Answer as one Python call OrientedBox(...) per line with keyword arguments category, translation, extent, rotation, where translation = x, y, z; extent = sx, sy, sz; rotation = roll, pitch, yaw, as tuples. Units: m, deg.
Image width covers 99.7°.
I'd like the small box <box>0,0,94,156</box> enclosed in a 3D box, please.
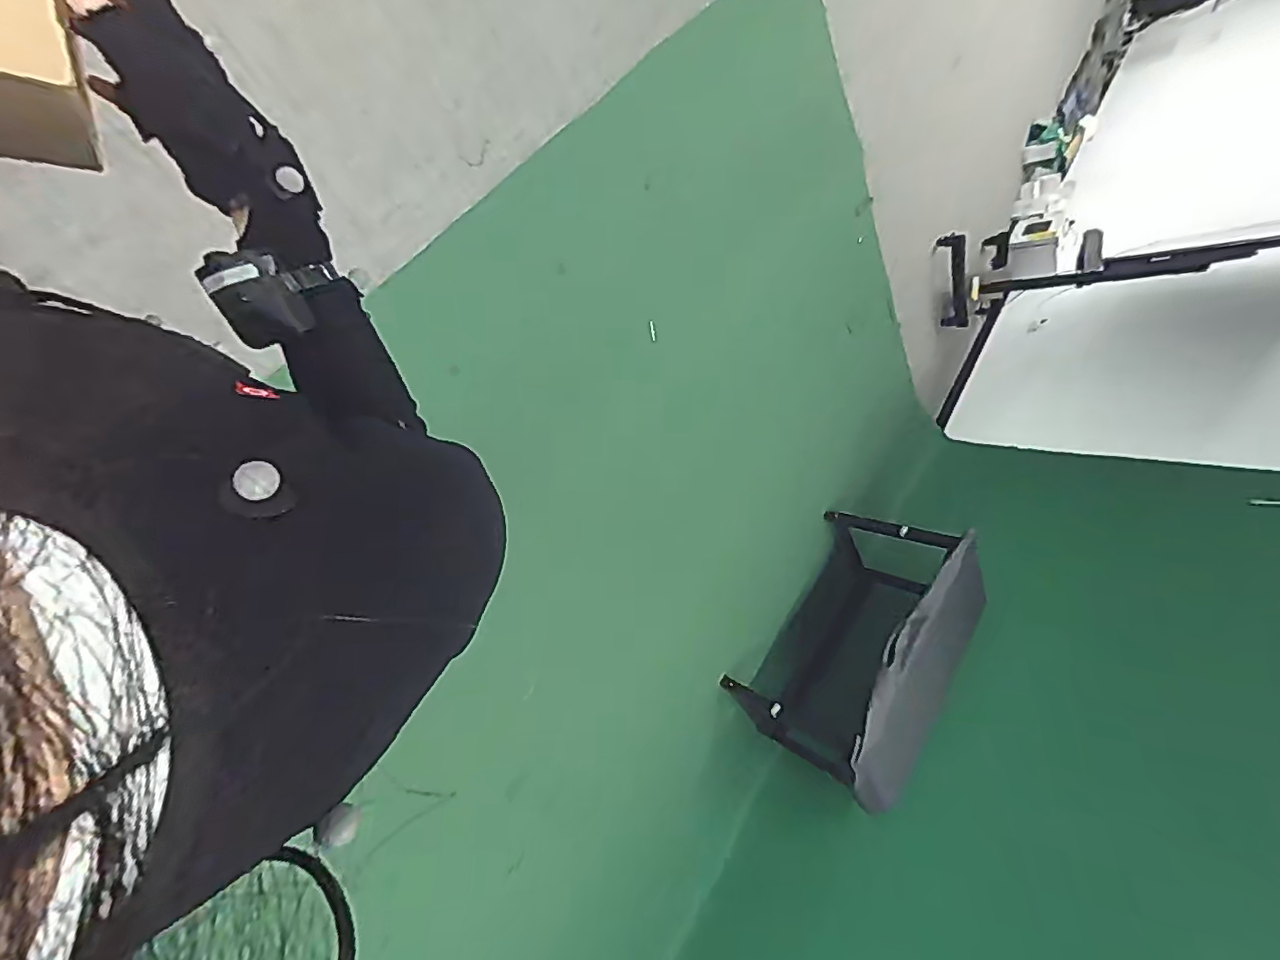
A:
OrientedBox(category="small box", translation=(-0.430, -0.295, 0.281), extent=(0.179, 0.176, 0.168), rotation=(-11, 106, -39))
